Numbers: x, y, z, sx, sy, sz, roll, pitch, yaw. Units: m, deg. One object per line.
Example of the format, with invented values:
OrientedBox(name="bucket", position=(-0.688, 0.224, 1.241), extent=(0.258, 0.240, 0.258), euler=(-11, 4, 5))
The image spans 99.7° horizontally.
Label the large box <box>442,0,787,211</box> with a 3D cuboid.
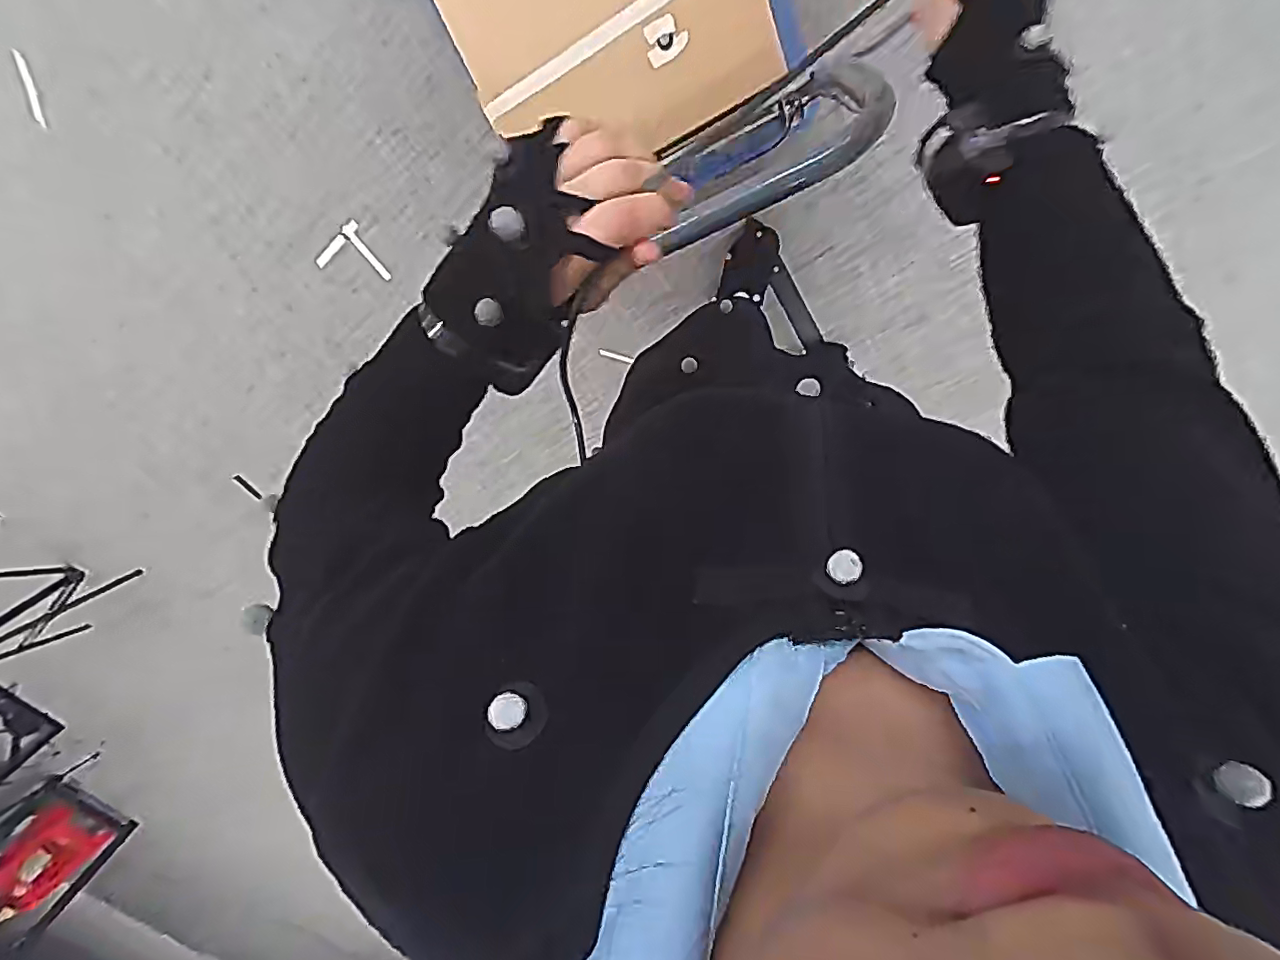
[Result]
OrientedBox(name="large box", position=(-0.020, -0.692, 0.875), extent=(0.408, 0.320, 0.320), euler=(-20, 116, 18))
